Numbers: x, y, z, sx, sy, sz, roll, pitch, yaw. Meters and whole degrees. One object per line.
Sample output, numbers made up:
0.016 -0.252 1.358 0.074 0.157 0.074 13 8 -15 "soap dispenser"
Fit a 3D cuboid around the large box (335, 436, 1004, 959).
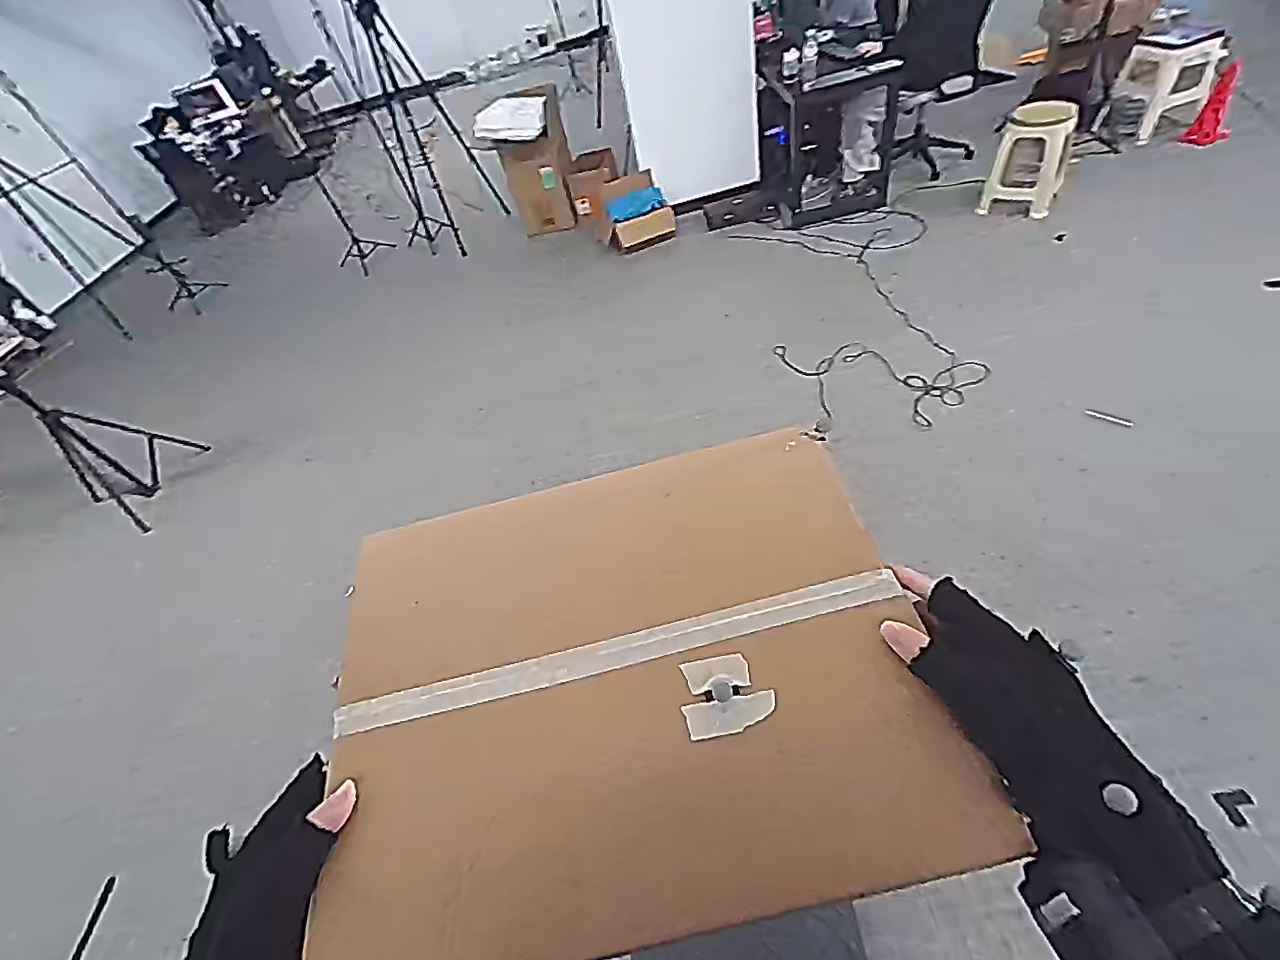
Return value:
0.010 0.213 0.512 0.408 0.320 0.320 -14 54 1 "large box"
